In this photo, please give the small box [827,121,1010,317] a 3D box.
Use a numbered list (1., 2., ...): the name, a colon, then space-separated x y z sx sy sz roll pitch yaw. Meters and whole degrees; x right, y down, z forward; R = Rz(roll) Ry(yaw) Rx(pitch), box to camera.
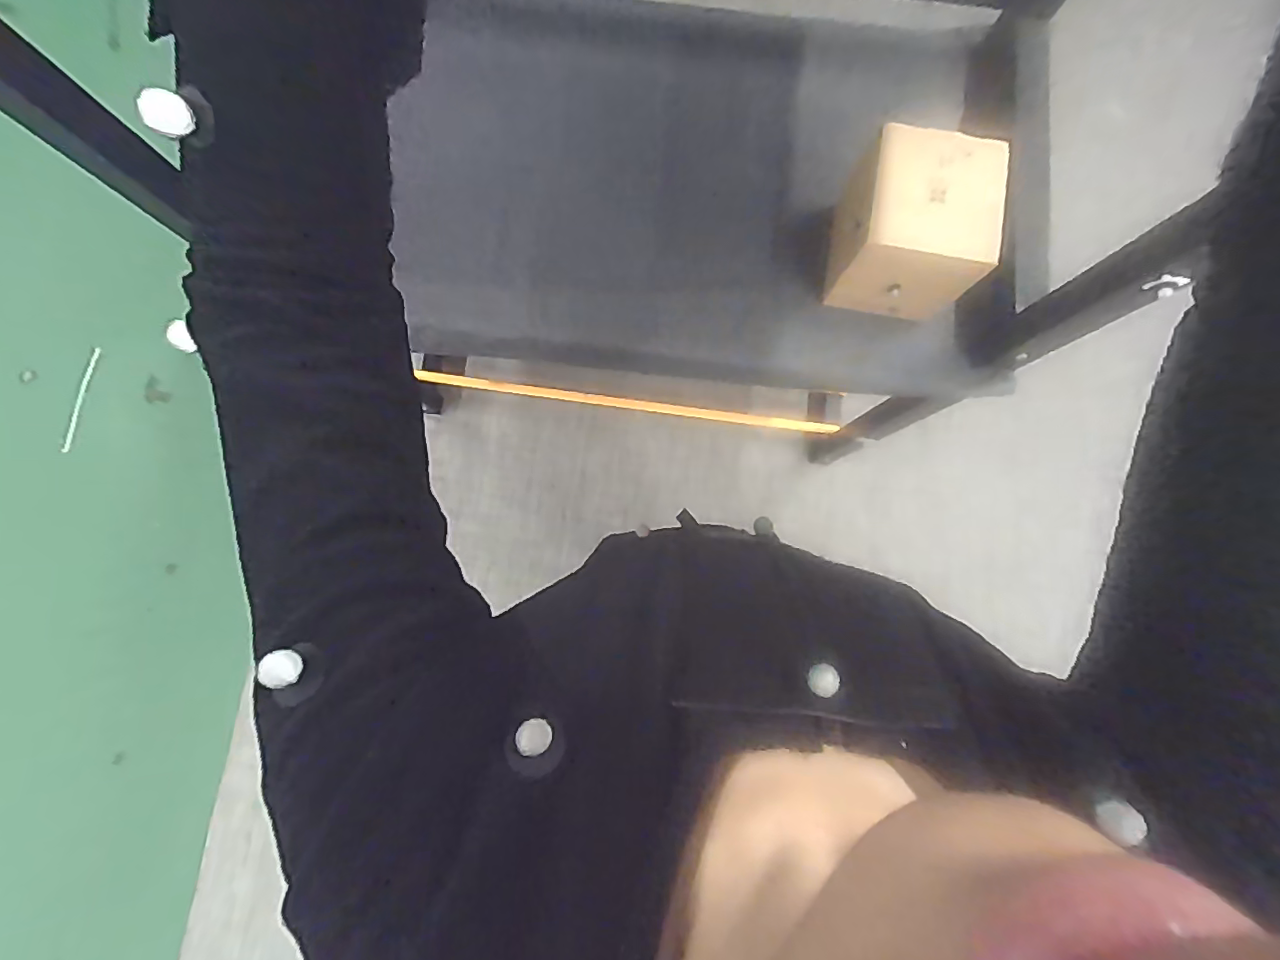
1. small box: 0.377 -0.353 0.761 0.168 0.176 0.179 11 81 1
